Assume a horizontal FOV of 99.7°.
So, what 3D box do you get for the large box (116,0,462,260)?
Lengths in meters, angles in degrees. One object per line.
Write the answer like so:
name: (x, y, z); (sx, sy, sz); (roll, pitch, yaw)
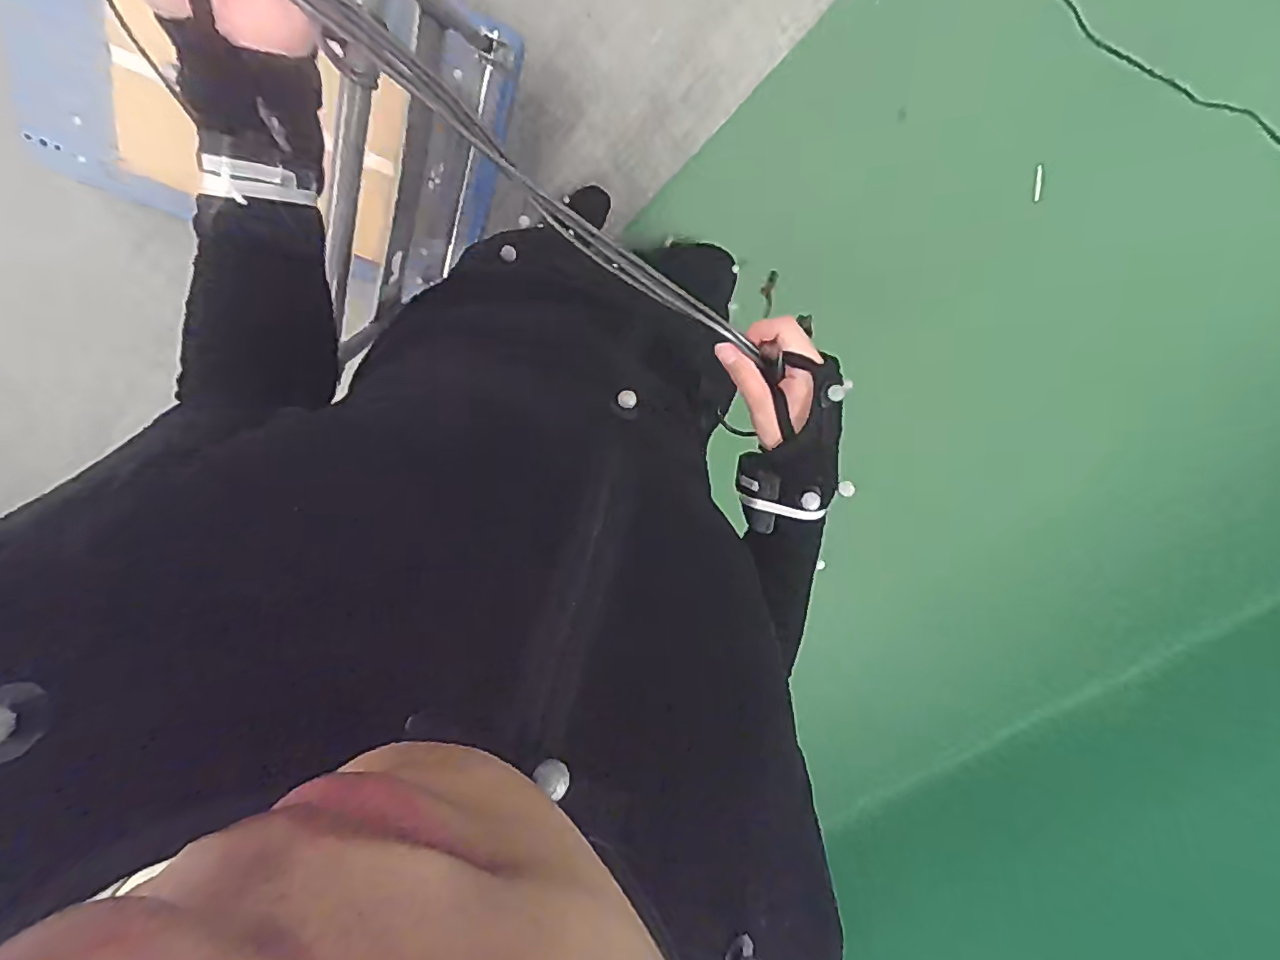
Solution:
large box: (-0.569, -0.638, 0.948); (0.408, 0.320, 0.320); (17, 119, -15)
